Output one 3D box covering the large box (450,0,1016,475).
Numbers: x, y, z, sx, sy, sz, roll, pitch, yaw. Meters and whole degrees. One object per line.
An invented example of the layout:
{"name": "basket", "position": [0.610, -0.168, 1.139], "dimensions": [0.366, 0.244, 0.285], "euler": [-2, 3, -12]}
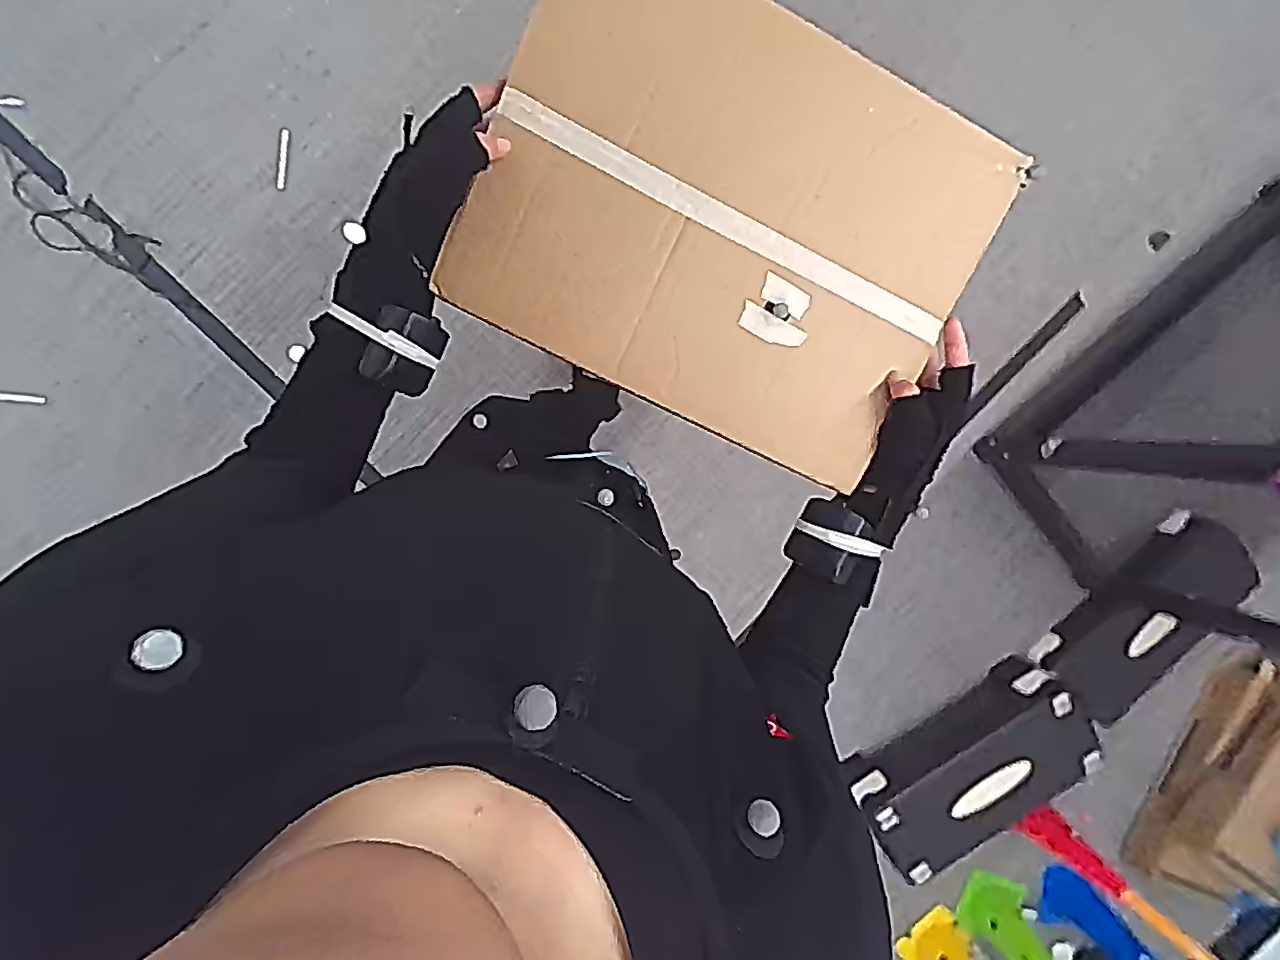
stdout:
{"name": "large box", "position": [0.070, -0.245, 0.602], "dimensions": [0.408, 0.320, 0.320], "euler": [25, 99, -8]}
